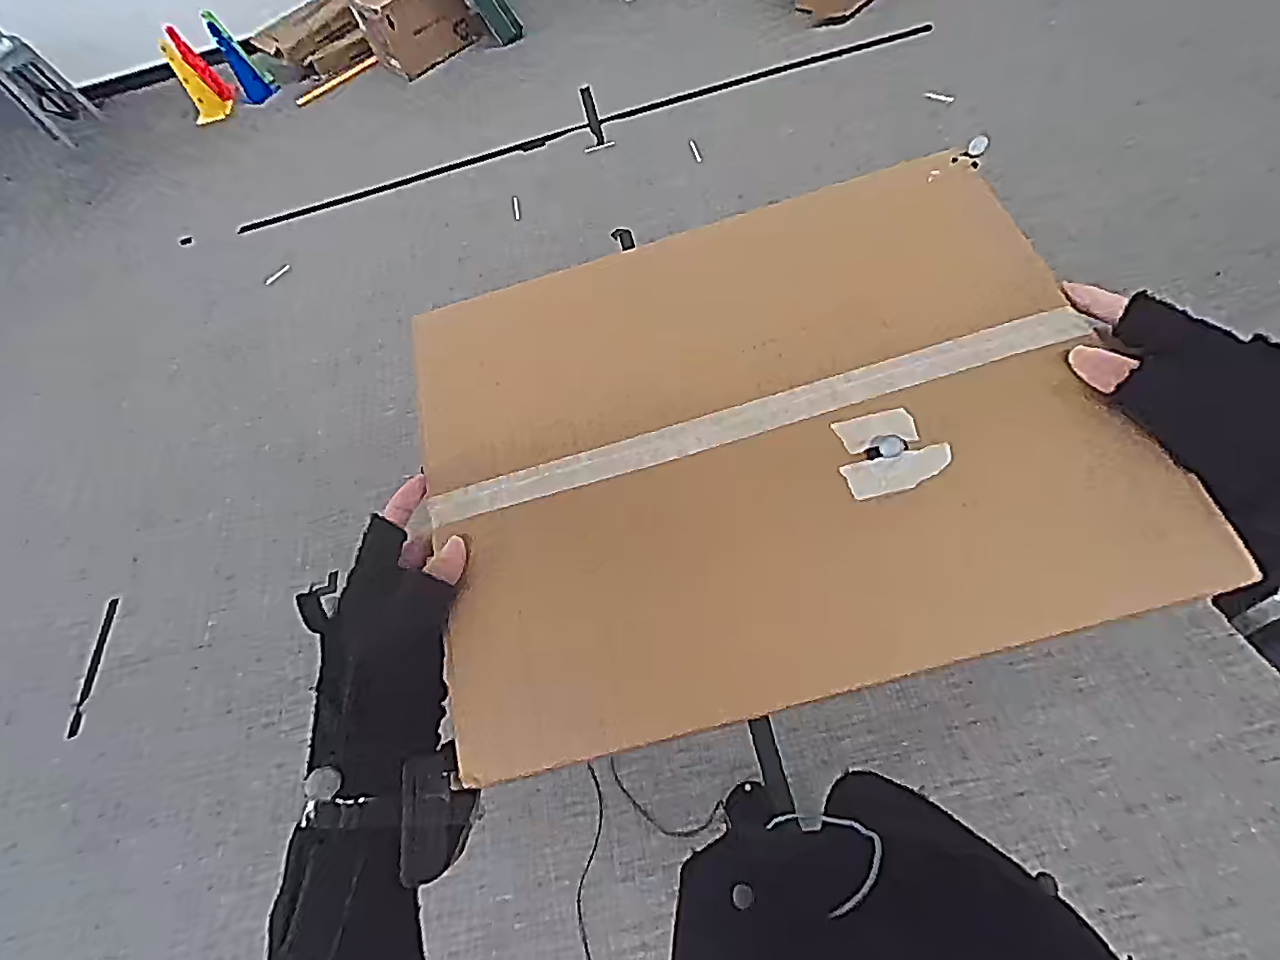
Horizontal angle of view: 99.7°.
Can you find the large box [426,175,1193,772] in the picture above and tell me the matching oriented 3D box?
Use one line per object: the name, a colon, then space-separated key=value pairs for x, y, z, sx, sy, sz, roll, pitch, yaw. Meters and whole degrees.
large box: x=0.084 y=0.021 z=0.482 sx=0.408 sy=0.320 sz=0.320 roll=-16 pitch=68 yaw=2
